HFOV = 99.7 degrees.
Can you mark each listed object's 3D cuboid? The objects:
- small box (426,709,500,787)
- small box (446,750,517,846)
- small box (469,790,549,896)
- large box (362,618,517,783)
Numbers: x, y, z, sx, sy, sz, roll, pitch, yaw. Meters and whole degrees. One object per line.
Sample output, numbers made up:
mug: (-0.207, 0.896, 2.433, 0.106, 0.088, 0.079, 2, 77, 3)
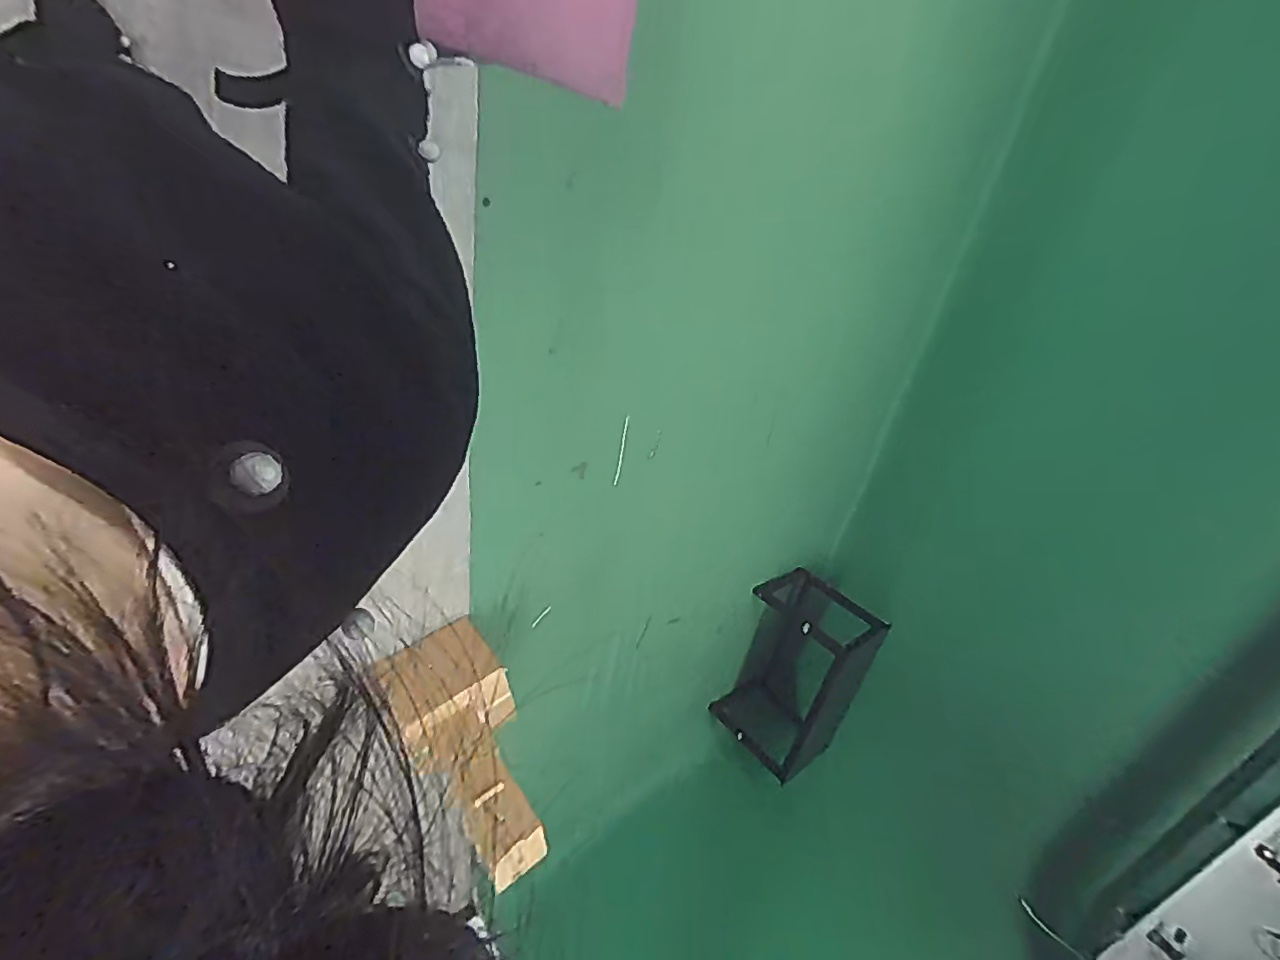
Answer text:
small box: (-0.591, 0.911, 1.812, 0.179, 0.176, 0.168, -24, 130, -31)
small box: (-0.496, 0.991, 1.705, 0.168, 0.176, 0.179, -22, 130, -33)
small box: (-0.390, 1.065, 1.603, 0.168, 0.176, 0.179, -23, 129, -32)
large box: (-0.724, 0.790, 1.981, 0.408, 0.320, 0.320, -28, 135, -30)
